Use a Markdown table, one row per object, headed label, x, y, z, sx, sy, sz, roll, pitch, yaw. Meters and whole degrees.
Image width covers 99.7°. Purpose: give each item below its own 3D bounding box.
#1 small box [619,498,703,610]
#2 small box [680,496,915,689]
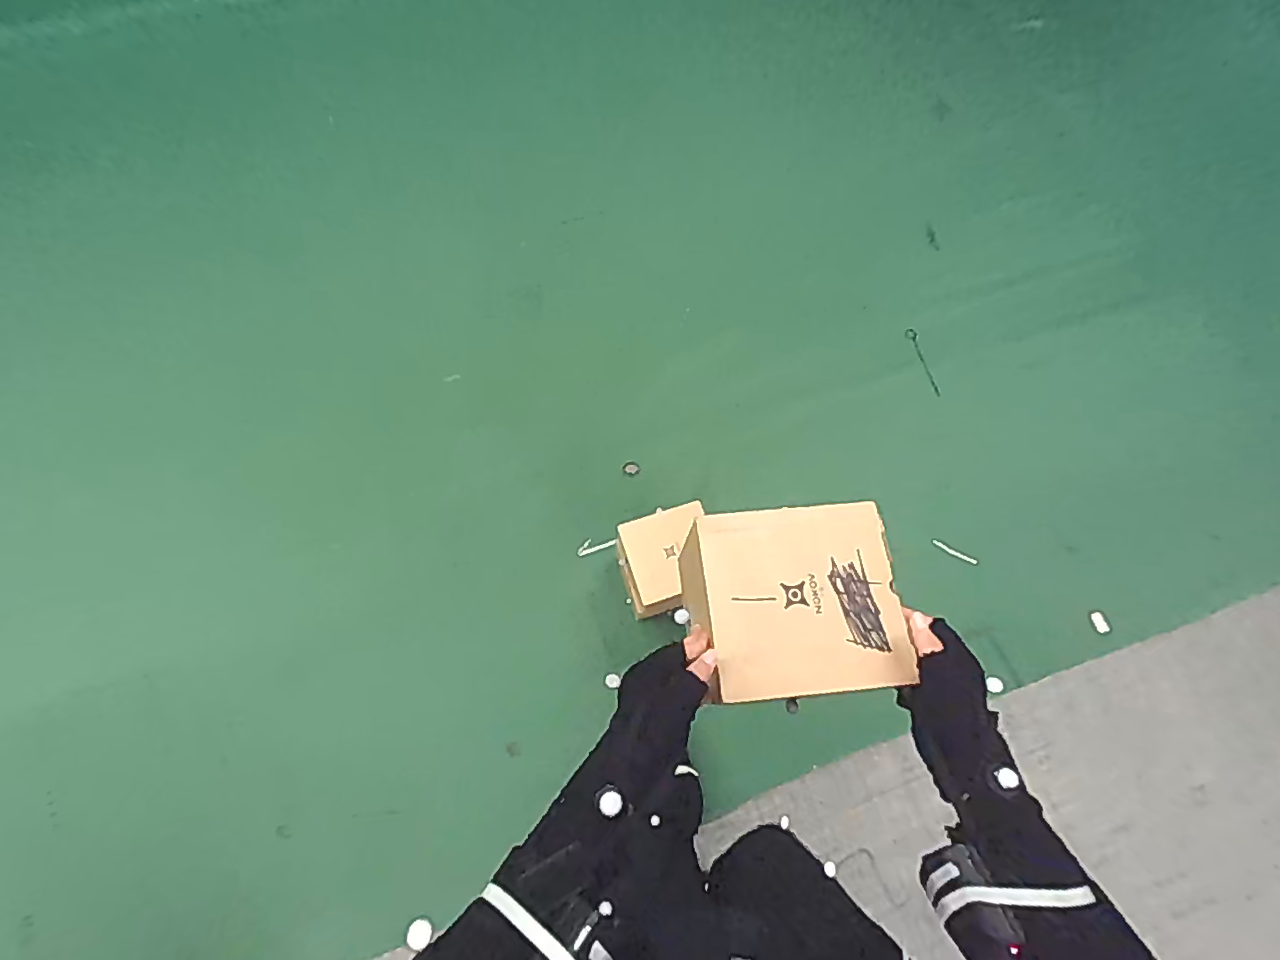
| label | x | y | z | sx | sy | sz | roll | pitch | yaw |
| --- | --- | --- | --- | --- | --- | --- | --- | --- | --- |
| small box | 0.064 | 0.159 | 1.117 | 0.179 | 0.176 | 0.168 | -17 | 72 | -8 |
| small box | 0.140 | 0.122 | 0.553 | 0.179 | 0.176 | 0.168 | -2 | 67 | -2 |
